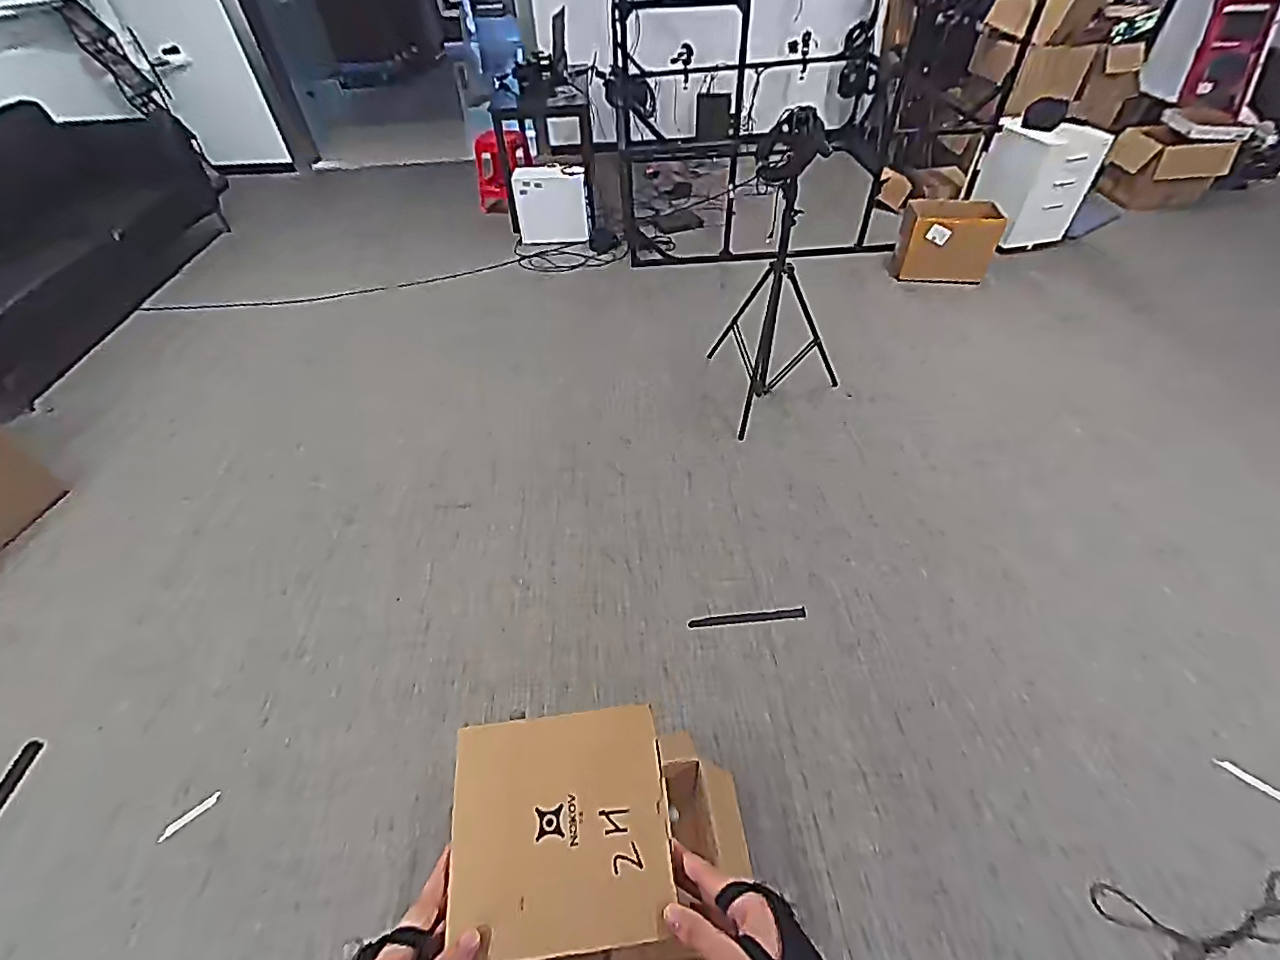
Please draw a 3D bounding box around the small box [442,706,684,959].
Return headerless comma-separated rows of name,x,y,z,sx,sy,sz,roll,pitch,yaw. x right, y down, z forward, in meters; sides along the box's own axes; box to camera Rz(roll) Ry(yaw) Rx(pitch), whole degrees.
small box,-0.062,0.321,0.493,0.179,0.176,0.168,-6,55,-5
